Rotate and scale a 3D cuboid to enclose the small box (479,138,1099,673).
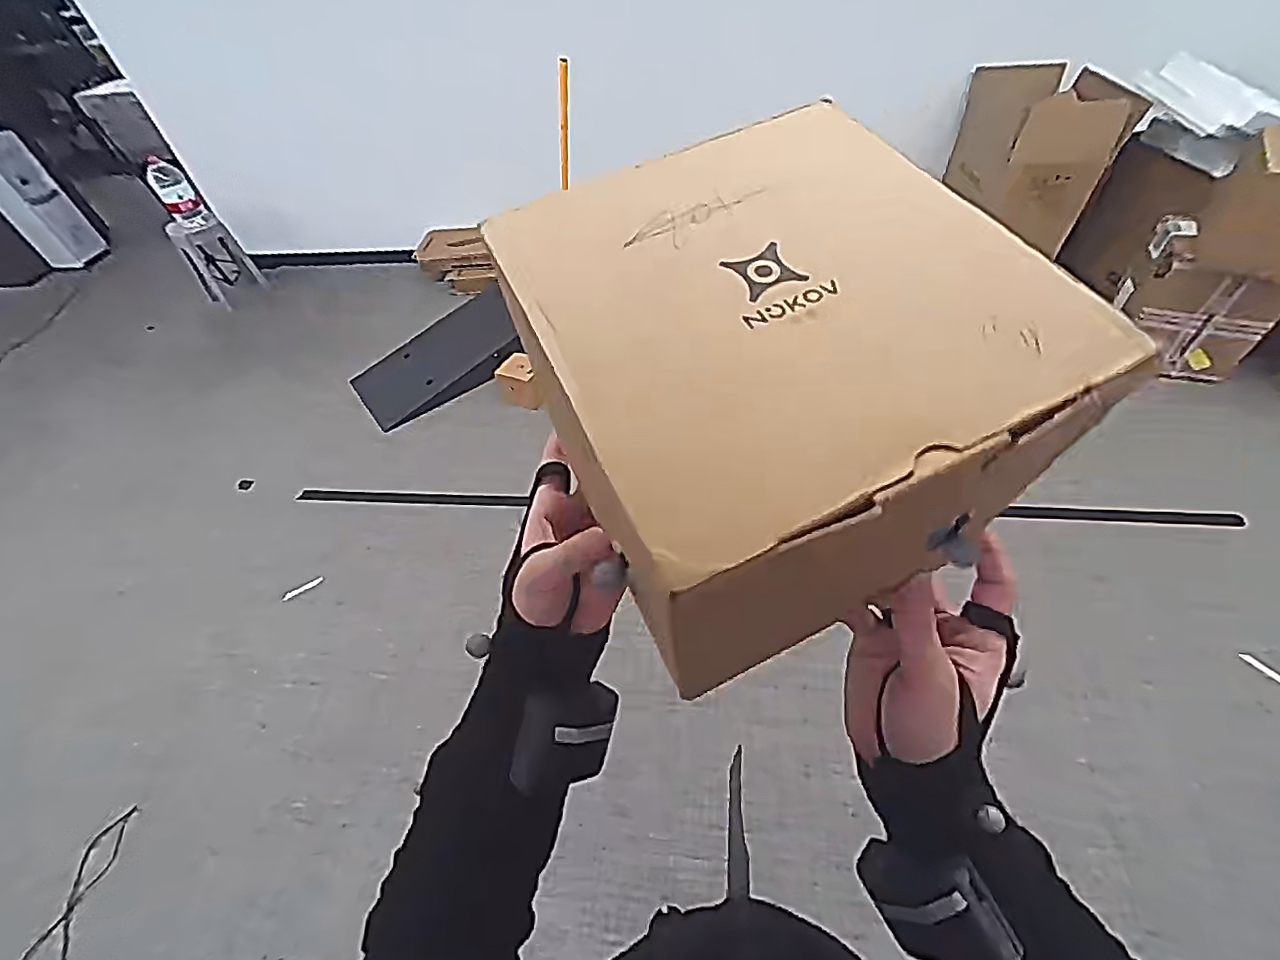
[{"bbox_3d":[0.048,-0.022,0.271,0.168,0.176,0.179,-26,59,-9],"label":"small box"}]
